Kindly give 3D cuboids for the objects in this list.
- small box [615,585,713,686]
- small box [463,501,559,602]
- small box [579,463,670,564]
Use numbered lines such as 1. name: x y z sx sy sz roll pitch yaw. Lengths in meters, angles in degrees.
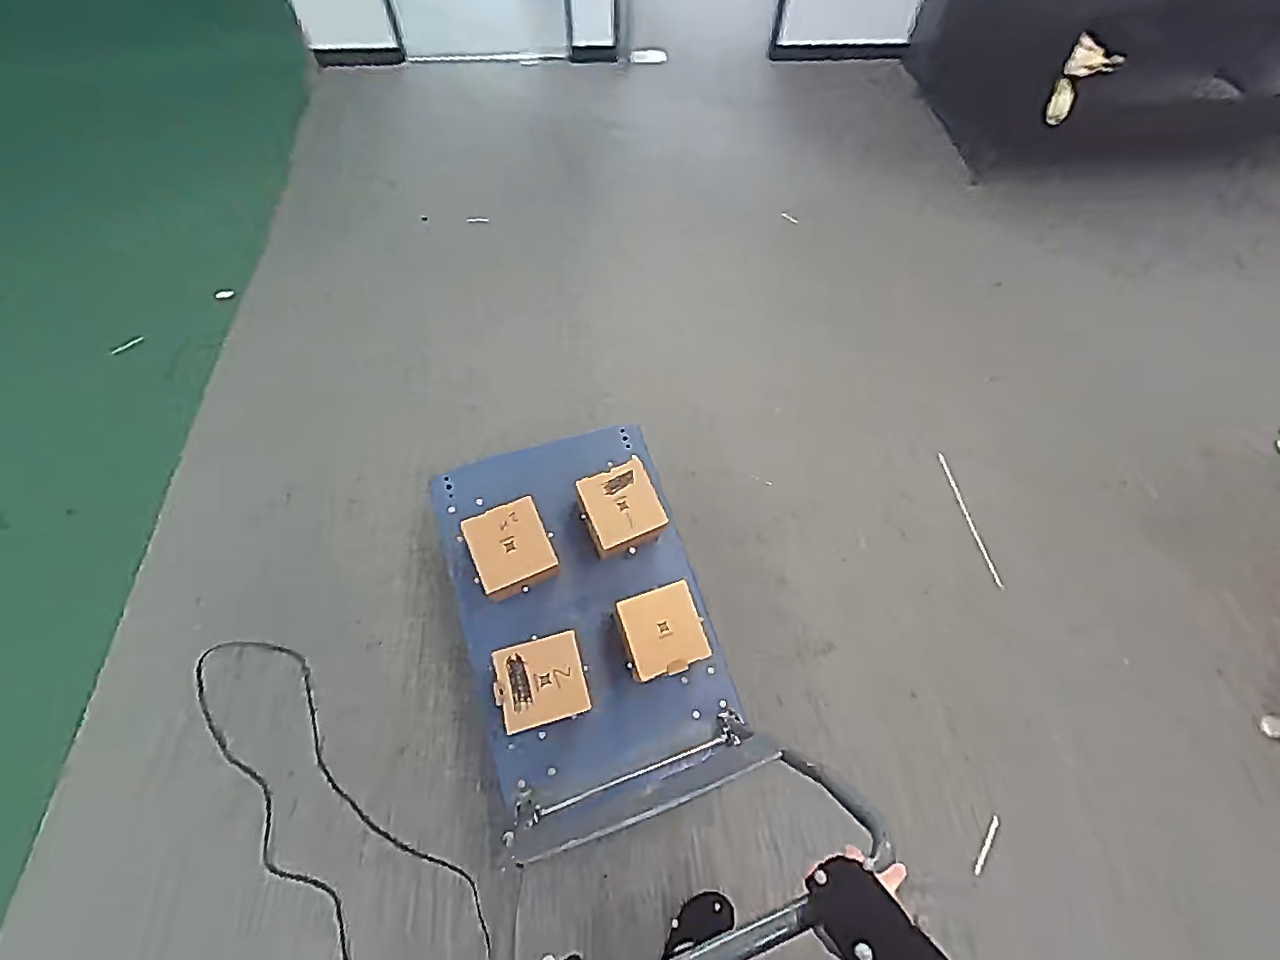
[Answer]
1. small box: 0.046 0.358 1.241 0.168 0.176 0.179 -16 75 -12
2. small box: -0.293 0.174 1.261 0.168 0.176 0.179 -21 75 -14
3. small box: -0.045 0.087 1.321 0.168 0.176 0.179 -21 75 -13
